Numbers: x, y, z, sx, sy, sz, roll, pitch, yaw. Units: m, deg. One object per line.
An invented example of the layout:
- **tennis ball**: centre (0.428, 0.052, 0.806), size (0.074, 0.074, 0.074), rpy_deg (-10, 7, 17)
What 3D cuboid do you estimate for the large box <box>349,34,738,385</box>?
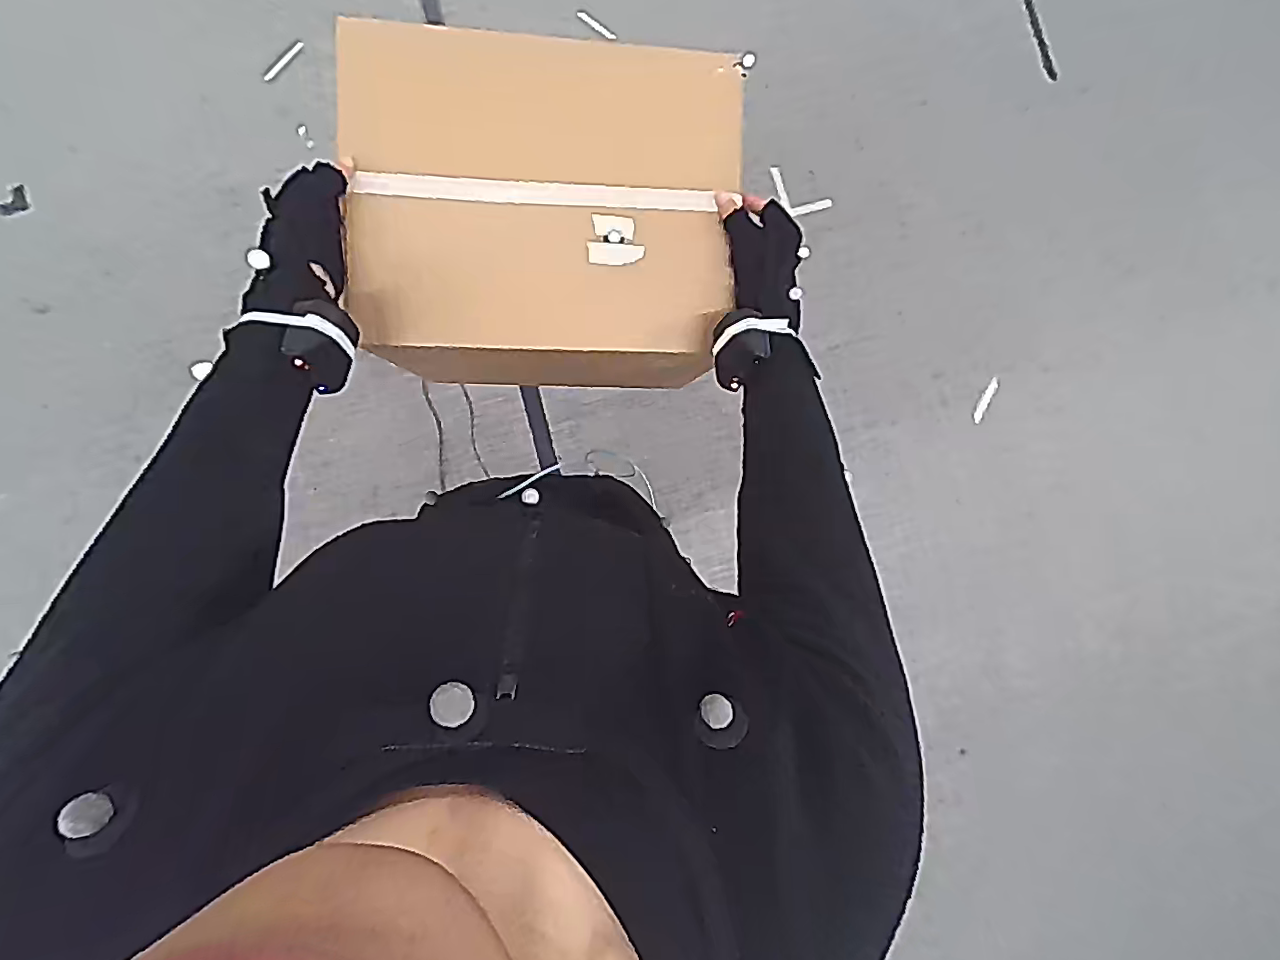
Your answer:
- **large box**: centre (-0.111, -0.303, 0.715), size (0.408, 0.320, 0.320), rpy_deg (-1, 93, -7)
